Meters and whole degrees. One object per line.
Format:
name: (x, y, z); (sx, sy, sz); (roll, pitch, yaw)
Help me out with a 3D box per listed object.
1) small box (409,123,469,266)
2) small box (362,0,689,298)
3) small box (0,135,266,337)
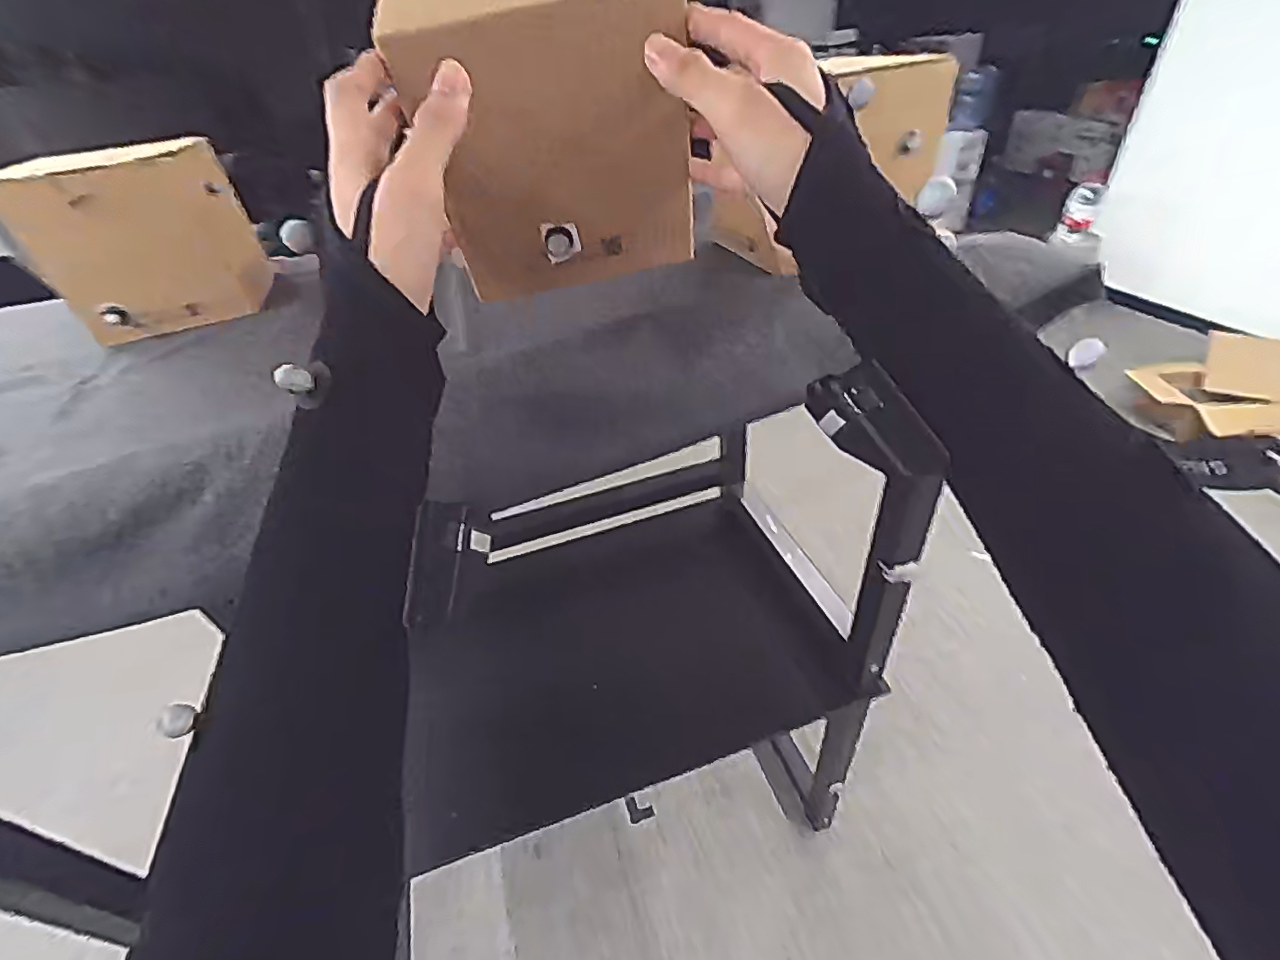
small box: (-0.189, -0.401, 0.712); (0.179, 0.176, 0.168); (-16, 40, -12)
small box: (-0.066, -0.260, 0.381); (0.168, 0.176, 0.179); (-14, 56, -2)
small box: (-0.569, -0.281, 0.627); (0.168, 0.176, 0.179); (-19, 41, -14)
